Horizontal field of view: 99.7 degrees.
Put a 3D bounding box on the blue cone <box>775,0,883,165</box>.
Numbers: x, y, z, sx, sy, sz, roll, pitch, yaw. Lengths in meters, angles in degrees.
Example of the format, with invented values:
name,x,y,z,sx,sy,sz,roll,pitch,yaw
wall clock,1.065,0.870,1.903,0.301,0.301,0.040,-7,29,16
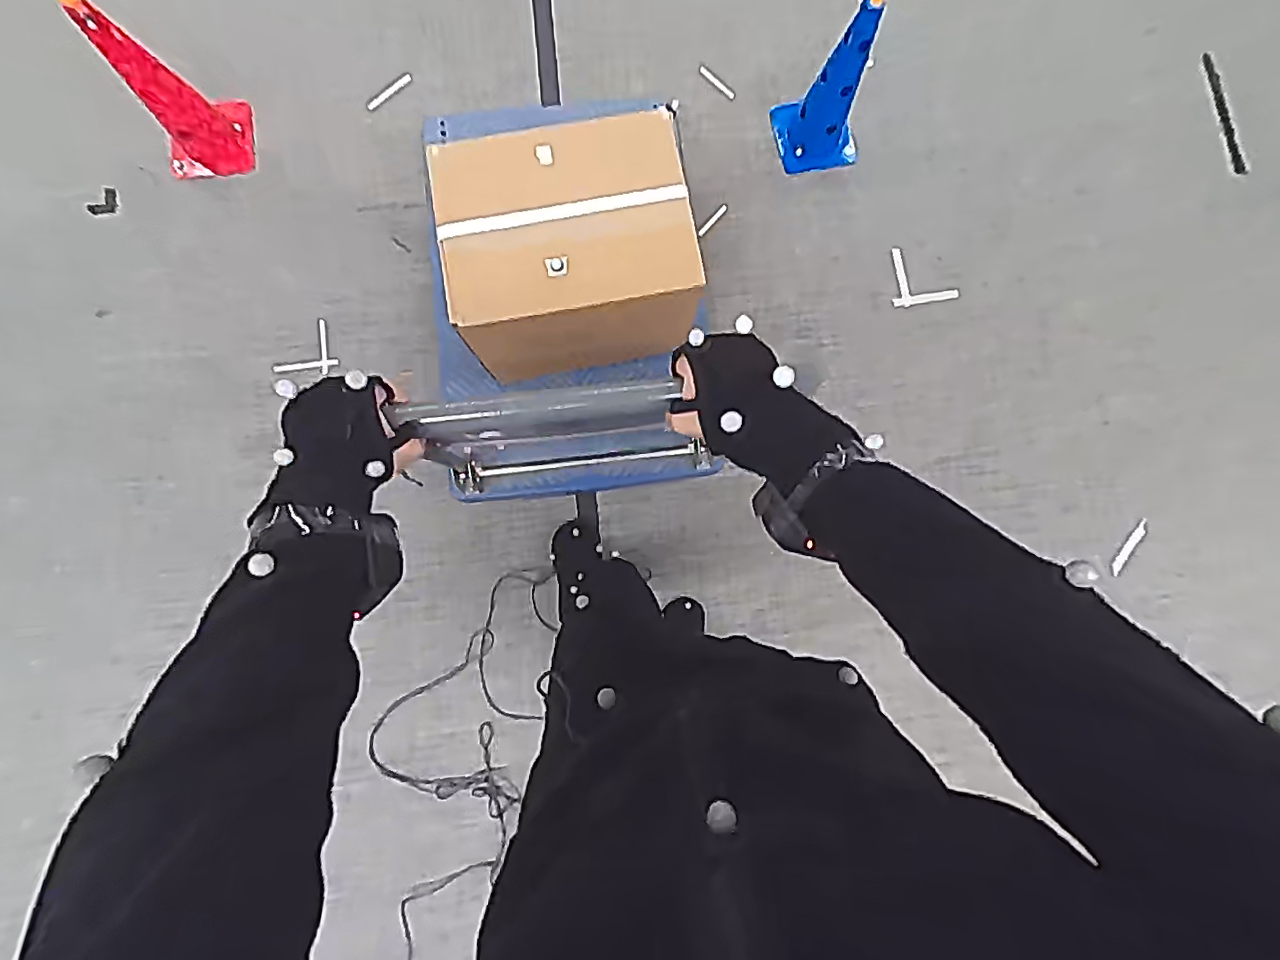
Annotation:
name,x,y,z,sx,sy,sz,roll,pitch,yaw
blue cone,0.469,-0.942,1.260,0.193,0.380,0.192,-10,83,-4
